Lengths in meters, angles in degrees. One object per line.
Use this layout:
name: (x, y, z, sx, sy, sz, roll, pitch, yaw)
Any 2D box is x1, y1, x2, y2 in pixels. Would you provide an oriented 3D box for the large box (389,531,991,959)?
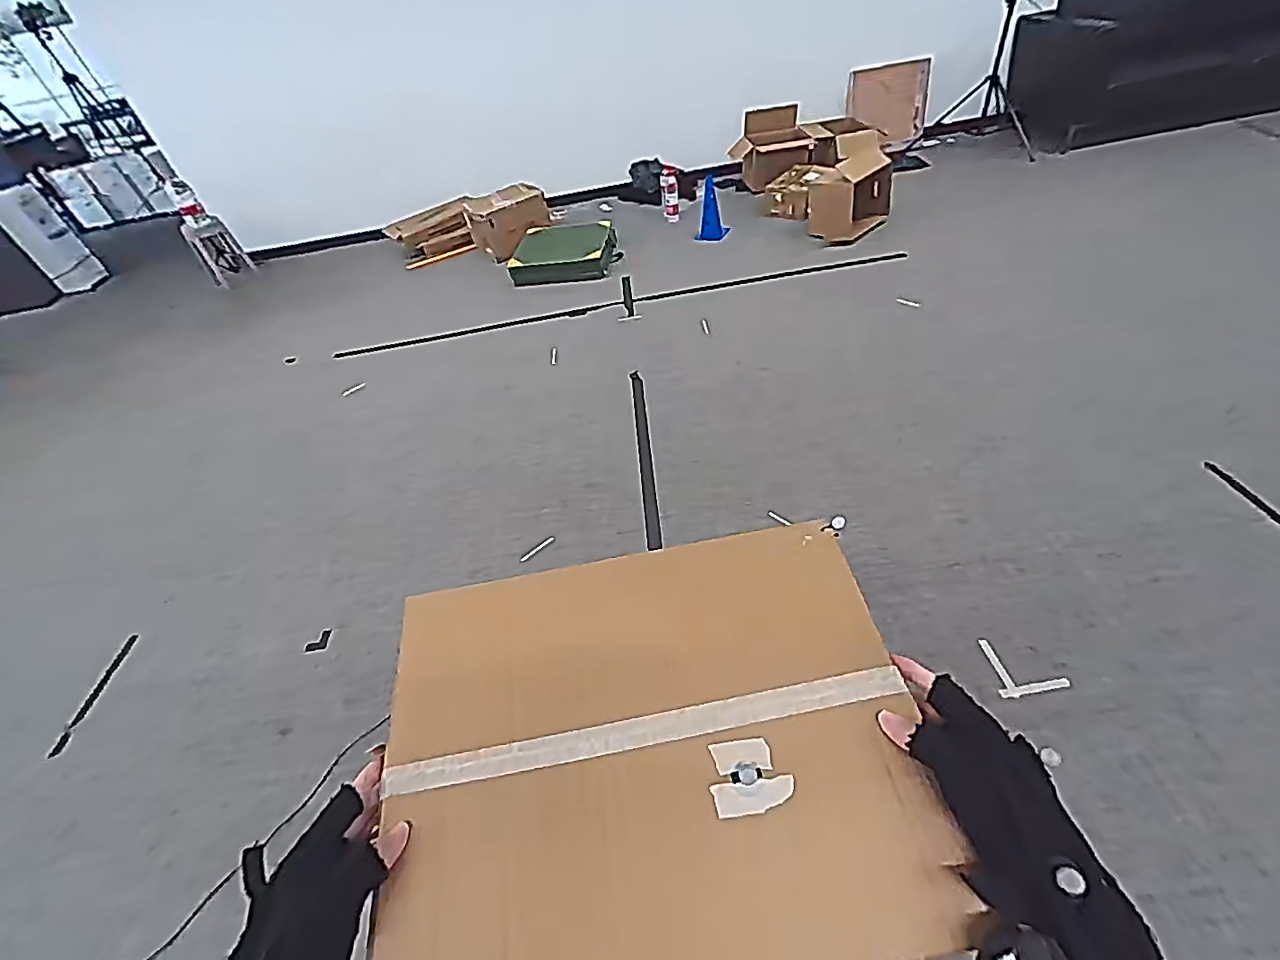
large box: (0.022, 0.295, 0.548, 0.408, 0.320, 0.320, -10, 52, -1)
